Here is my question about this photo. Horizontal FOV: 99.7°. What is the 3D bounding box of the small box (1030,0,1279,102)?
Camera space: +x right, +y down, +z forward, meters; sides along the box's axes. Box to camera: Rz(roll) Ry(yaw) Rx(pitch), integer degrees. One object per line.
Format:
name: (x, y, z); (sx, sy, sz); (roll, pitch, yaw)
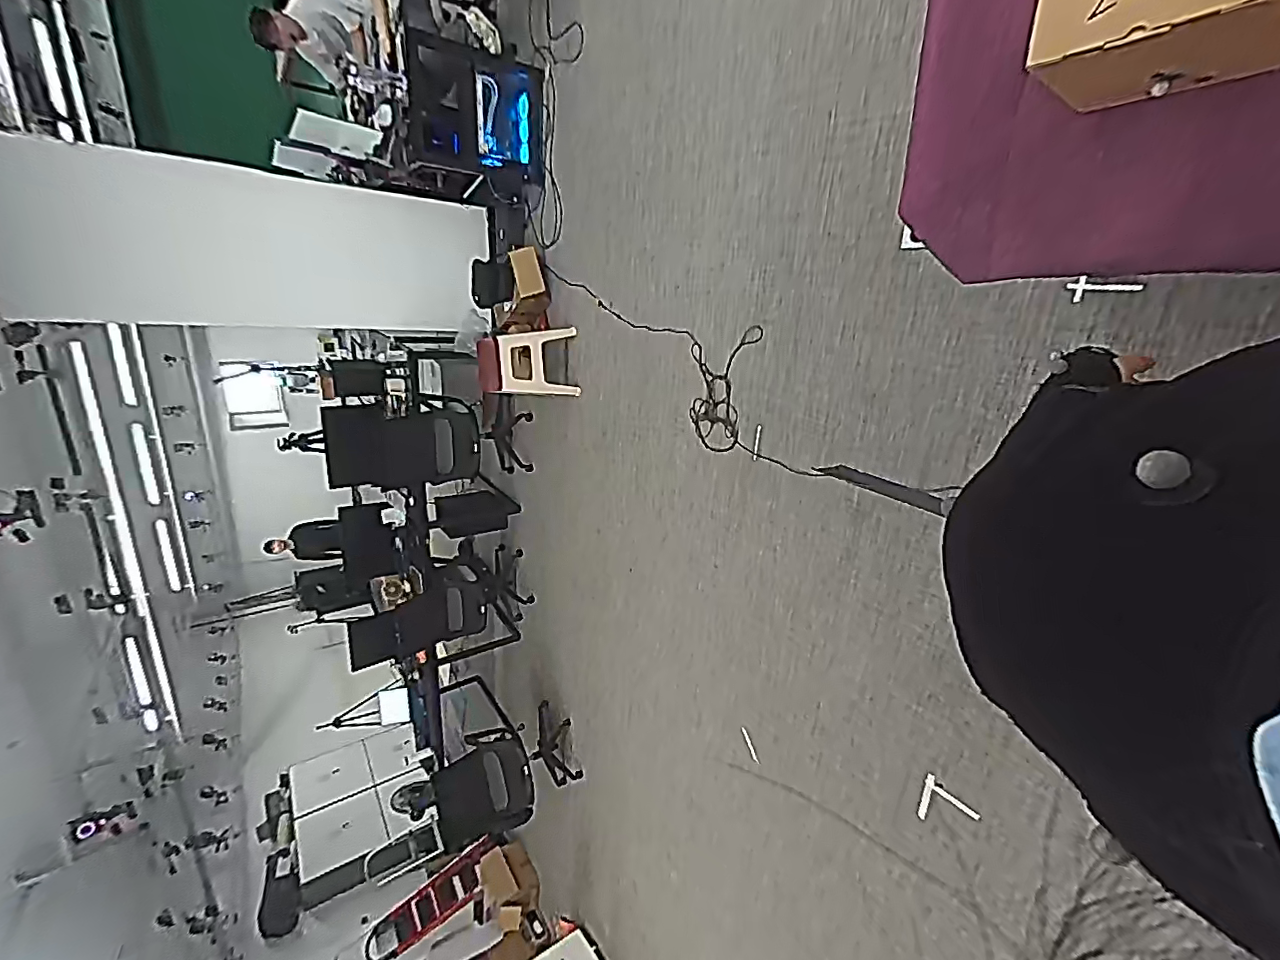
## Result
small box: (0.482, -0.469, 0.470); (0.168, 0.176, 0.179); (23, 117, 50)
